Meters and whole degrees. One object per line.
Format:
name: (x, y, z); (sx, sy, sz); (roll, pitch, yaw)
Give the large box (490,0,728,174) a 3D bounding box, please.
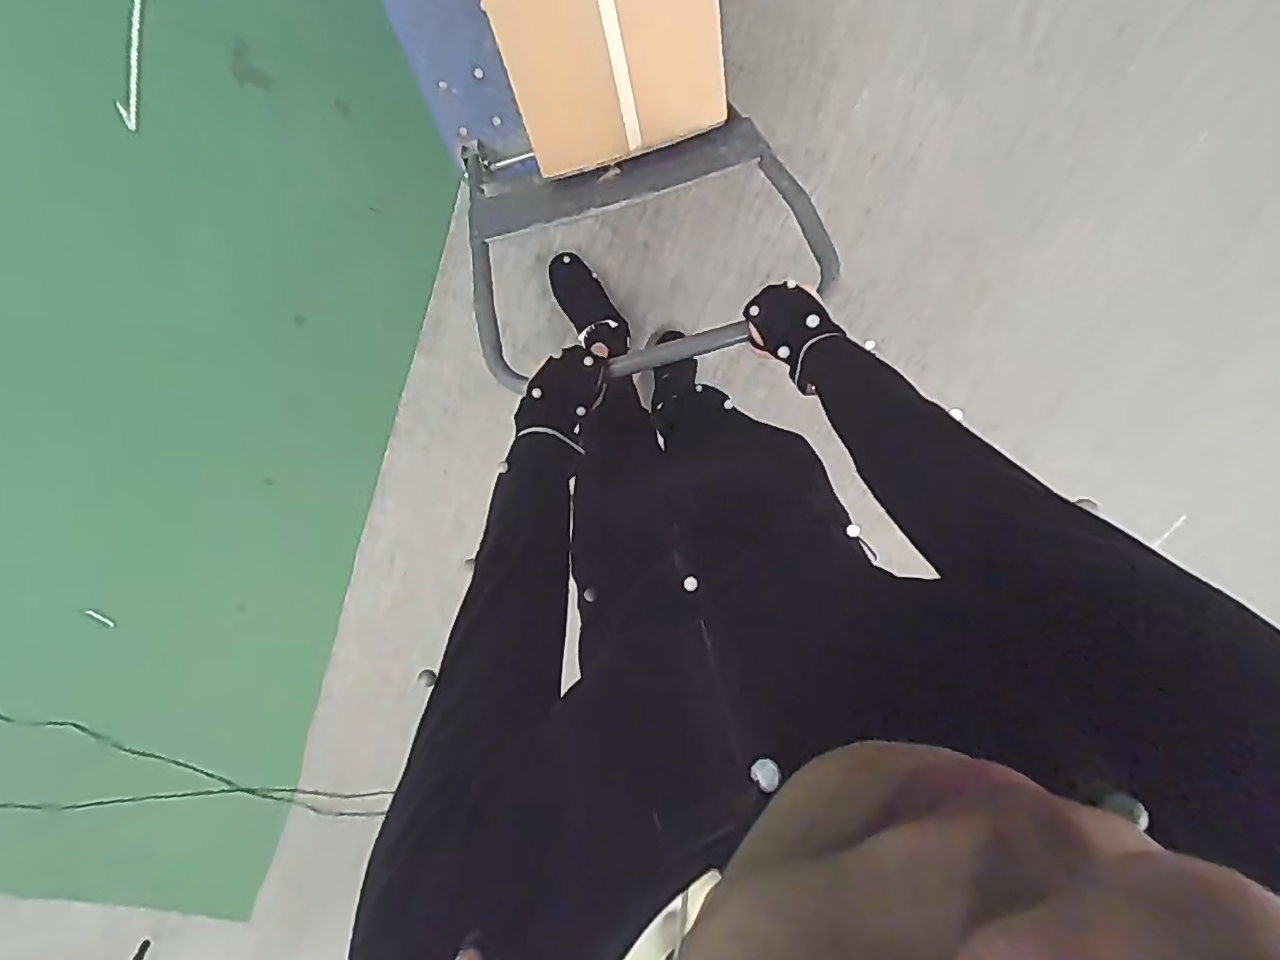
large box: (-0.070, -0.777, 0.836); (0.320, 0.320, 0.408); (-16, 140, 3)
